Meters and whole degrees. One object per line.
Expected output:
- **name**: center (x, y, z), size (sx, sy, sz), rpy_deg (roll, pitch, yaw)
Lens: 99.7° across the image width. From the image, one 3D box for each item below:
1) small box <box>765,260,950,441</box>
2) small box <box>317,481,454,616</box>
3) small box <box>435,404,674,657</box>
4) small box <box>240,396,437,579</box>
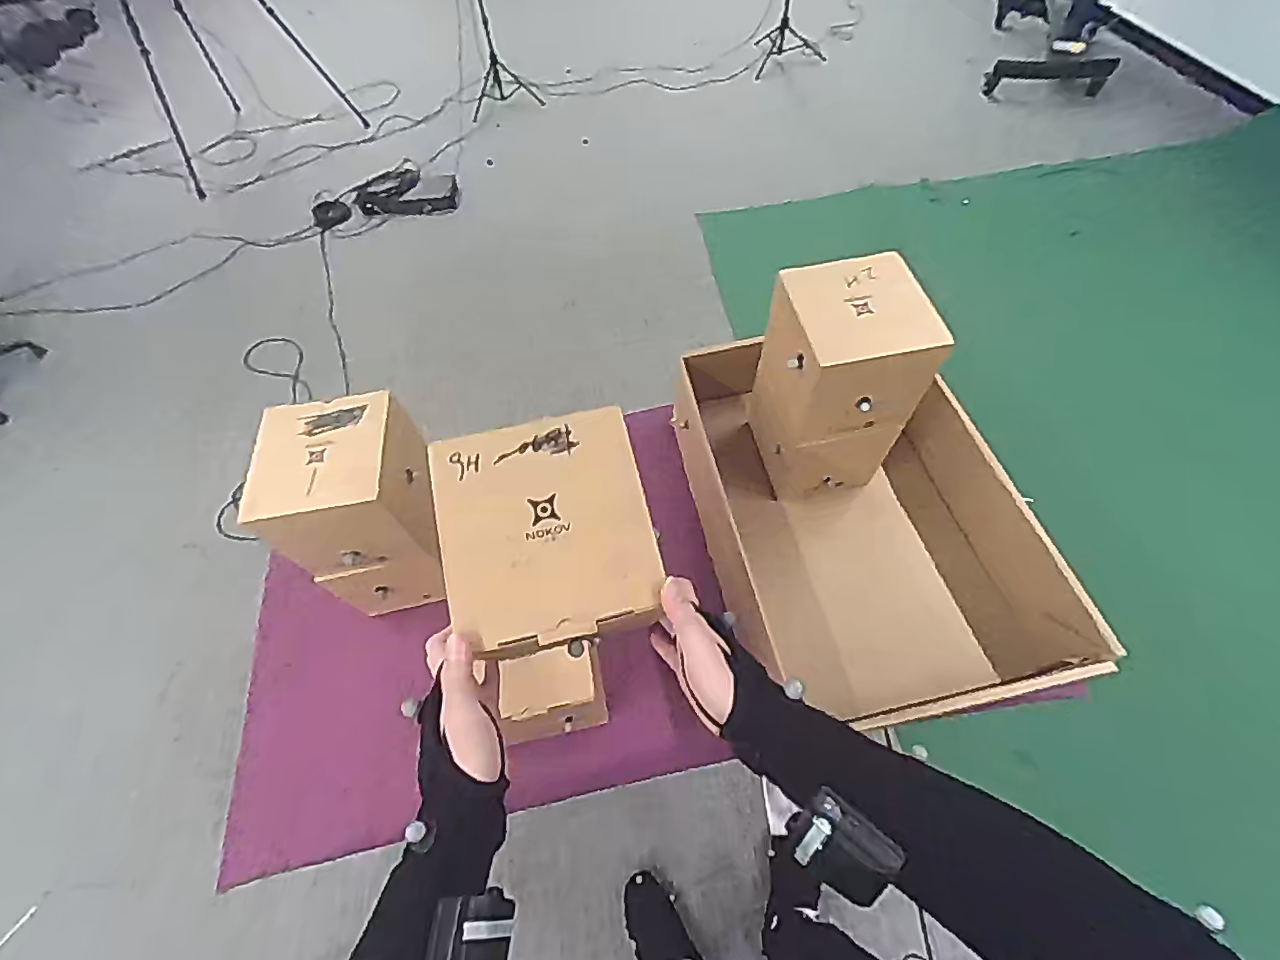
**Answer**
- **small box**: center (0.282, -0.169, 0.750), size (0.168, 0.176, 0.179), rpy_deg (-10, 58, -2)
- **small box**: center (-0.388, 0.106, 0.875), size (0.168, 0.176, 0.179), rpy_deg (-13, 57, -5)
- **small box**: center (-0.073, 0.056, 0.499), size (0.168, 0.176, 0.179), rpy_deg (-12, 73, -7)
- **small box**: center (-0.390, 0.014, 0.739), size (0.168, 0.176, 0.179), rpy_deg (-9, 58, -2)
